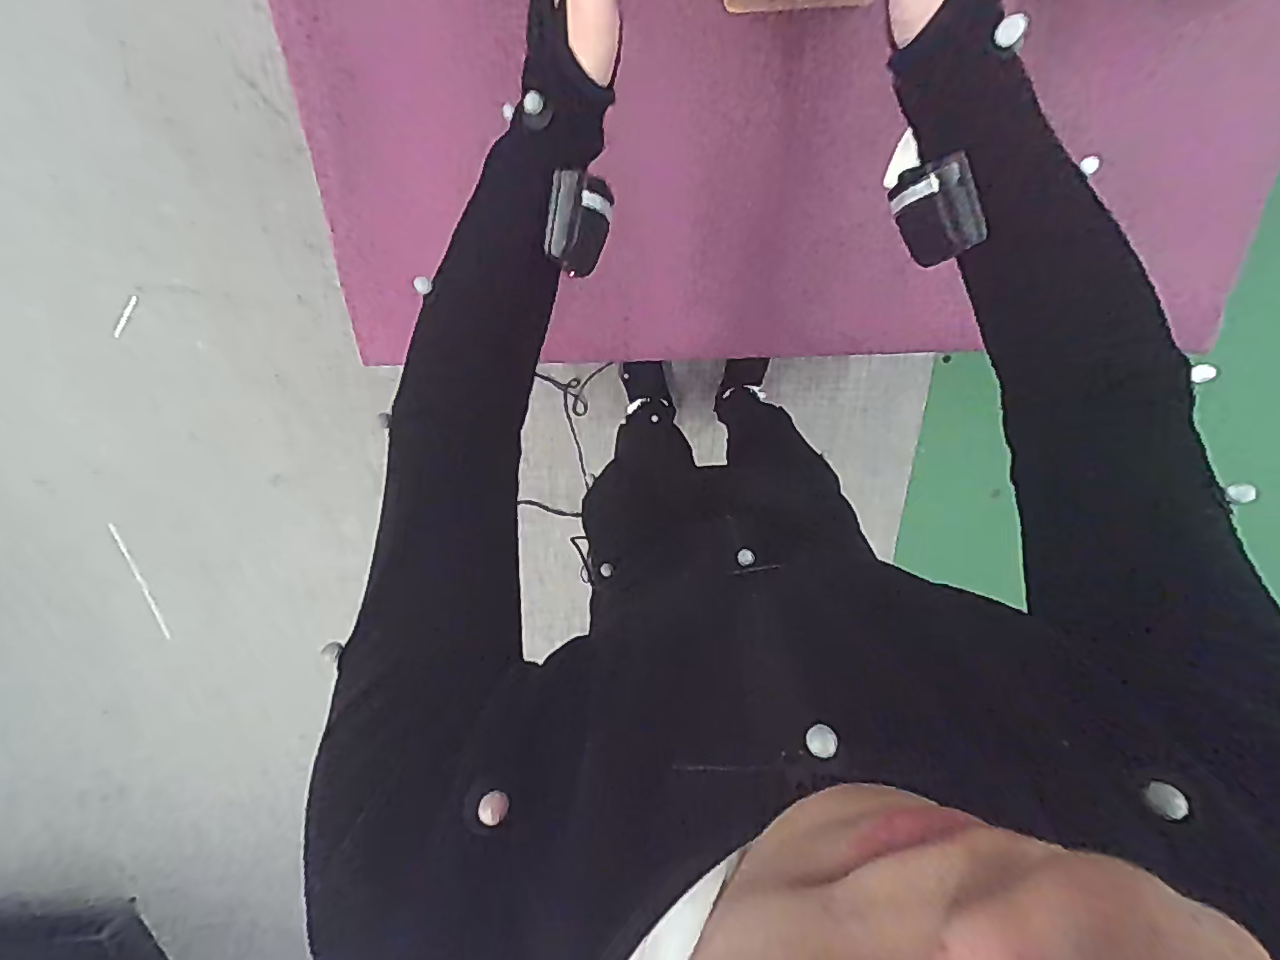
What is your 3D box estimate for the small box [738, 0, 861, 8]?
[{"bbox_3d":[0.177,-0.582,0.501,0.168,0.176,0.179,-3,115,1],"label":"small box"}]
